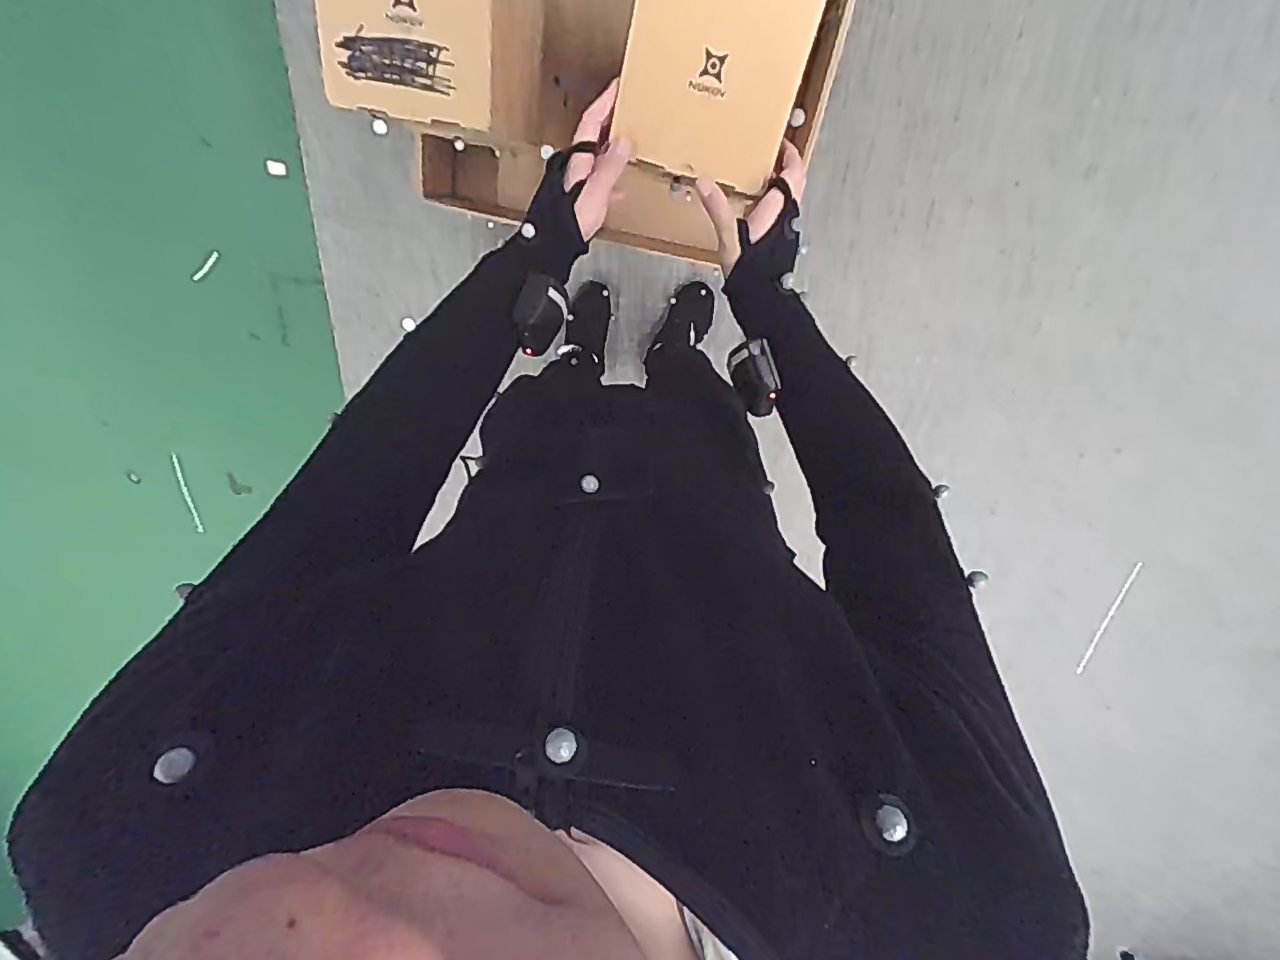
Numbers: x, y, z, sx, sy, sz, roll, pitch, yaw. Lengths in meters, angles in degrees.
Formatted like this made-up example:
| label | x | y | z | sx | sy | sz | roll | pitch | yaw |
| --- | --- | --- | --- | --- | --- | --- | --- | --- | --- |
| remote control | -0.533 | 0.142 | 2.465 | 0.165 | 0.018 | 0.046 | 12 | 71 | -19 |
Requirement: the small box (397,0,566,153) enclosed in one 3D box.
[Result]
| label | x | y | z | sx | sy | sz | roll | pitch | yaw |
| --- | --- | --- | --- | --- | --- | --- | --- | --- | --- |
| small box | -0.195 | -0.542 | 0.699 | 0.168 | 0.176 | 0.179 | 10 | 117 | 1 |

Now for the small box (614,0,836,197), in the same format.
| label | x | y | z | sx | sy | sz | roll | pitch | yaw |
| --- | --- | --- | --- | --- | --- | --- | --- | --- | --- |
| small box | 0.079 | -0.411 | 0.562 | 0.168 | 0.176 | 0.179 | 15 | 118 | -2 |
